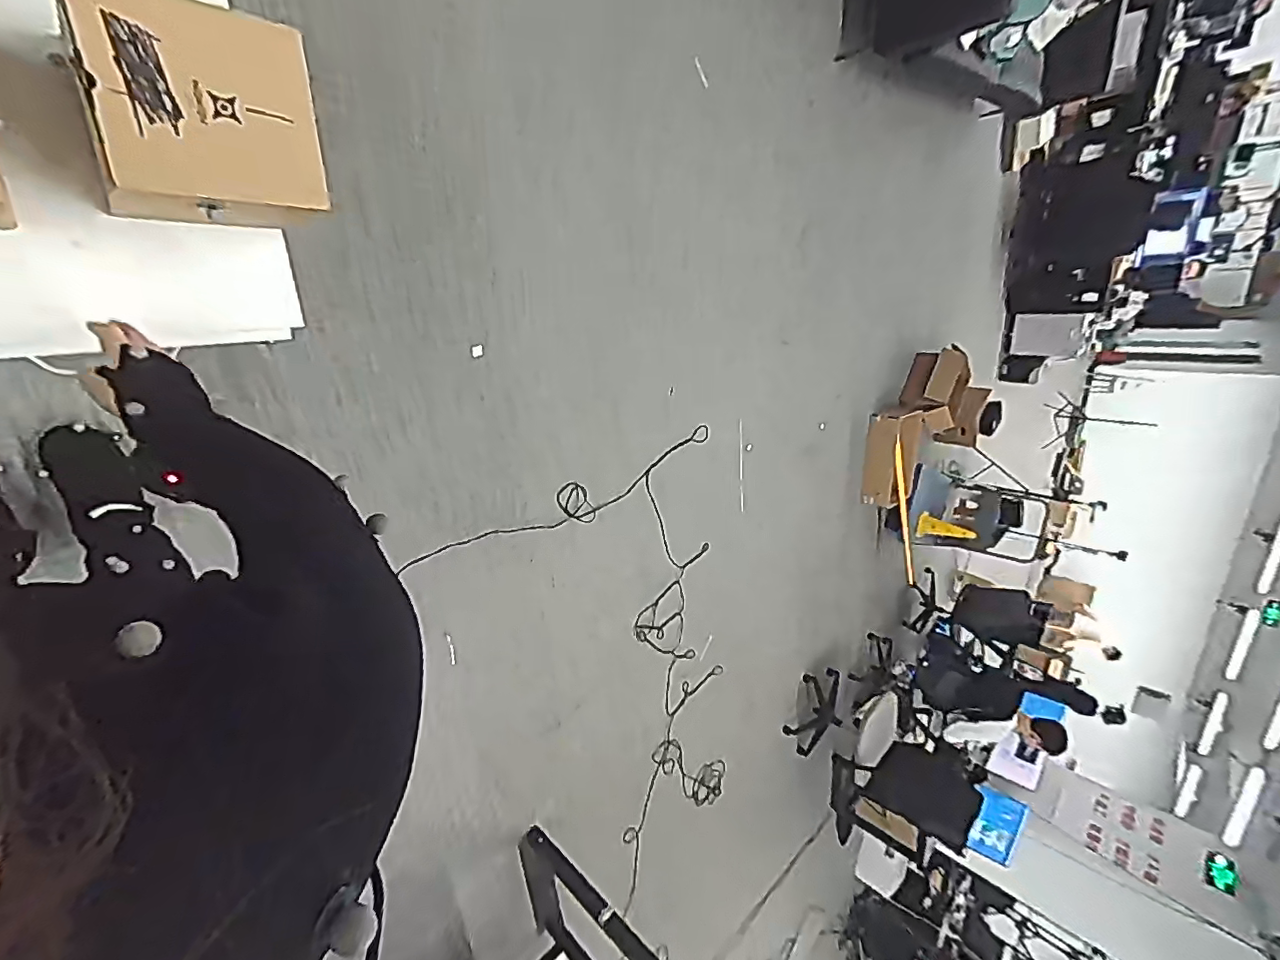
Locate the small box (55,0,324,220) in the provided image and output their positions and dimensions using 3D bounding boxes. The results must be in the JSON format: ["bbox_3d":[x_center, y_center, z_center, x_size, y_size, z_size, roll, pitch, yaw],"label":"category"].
[{"bbox_3d":[-0.460,-0.374,0.560,0.179,0.176,0.168,-17,114,-42],"label":"small box"}]

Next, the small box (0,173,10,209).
[{"bbox_3d":[-0.631,-0.300,0.402,0.179,0.176,0.168,-20,116,-42],"label":"small box"}]
